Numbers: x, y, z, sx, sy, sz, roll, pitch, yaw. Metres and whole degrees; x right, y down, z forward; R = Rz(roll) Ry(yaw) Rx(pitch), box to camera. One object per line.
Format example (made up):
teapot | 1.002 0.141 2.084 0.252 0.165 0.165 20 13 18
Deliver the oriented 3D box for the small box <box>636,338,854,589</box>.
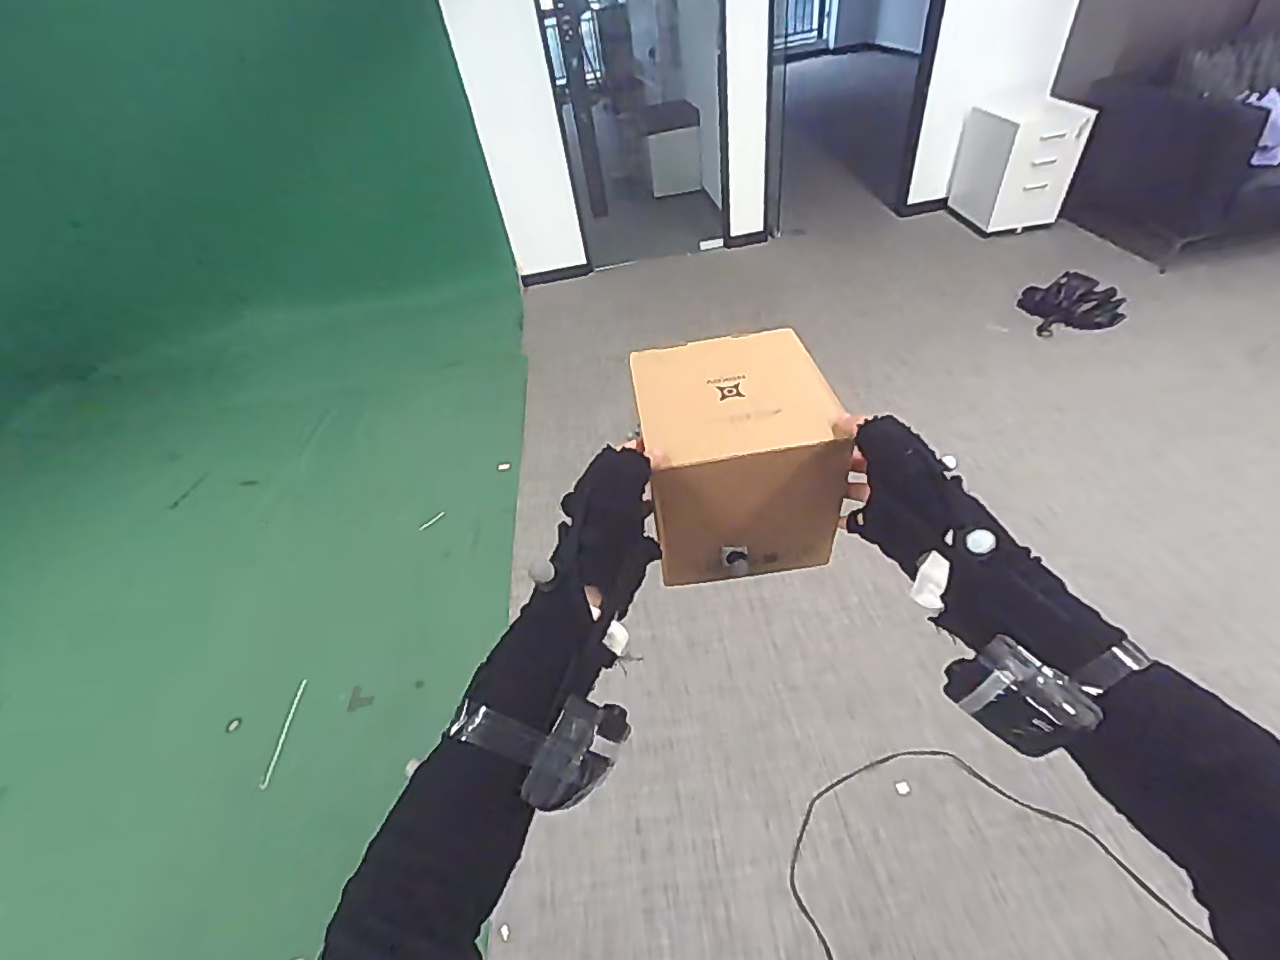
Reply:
small box | 0.090 -0.017 0.542 0.168 0.176 0.179 -9 43 1
